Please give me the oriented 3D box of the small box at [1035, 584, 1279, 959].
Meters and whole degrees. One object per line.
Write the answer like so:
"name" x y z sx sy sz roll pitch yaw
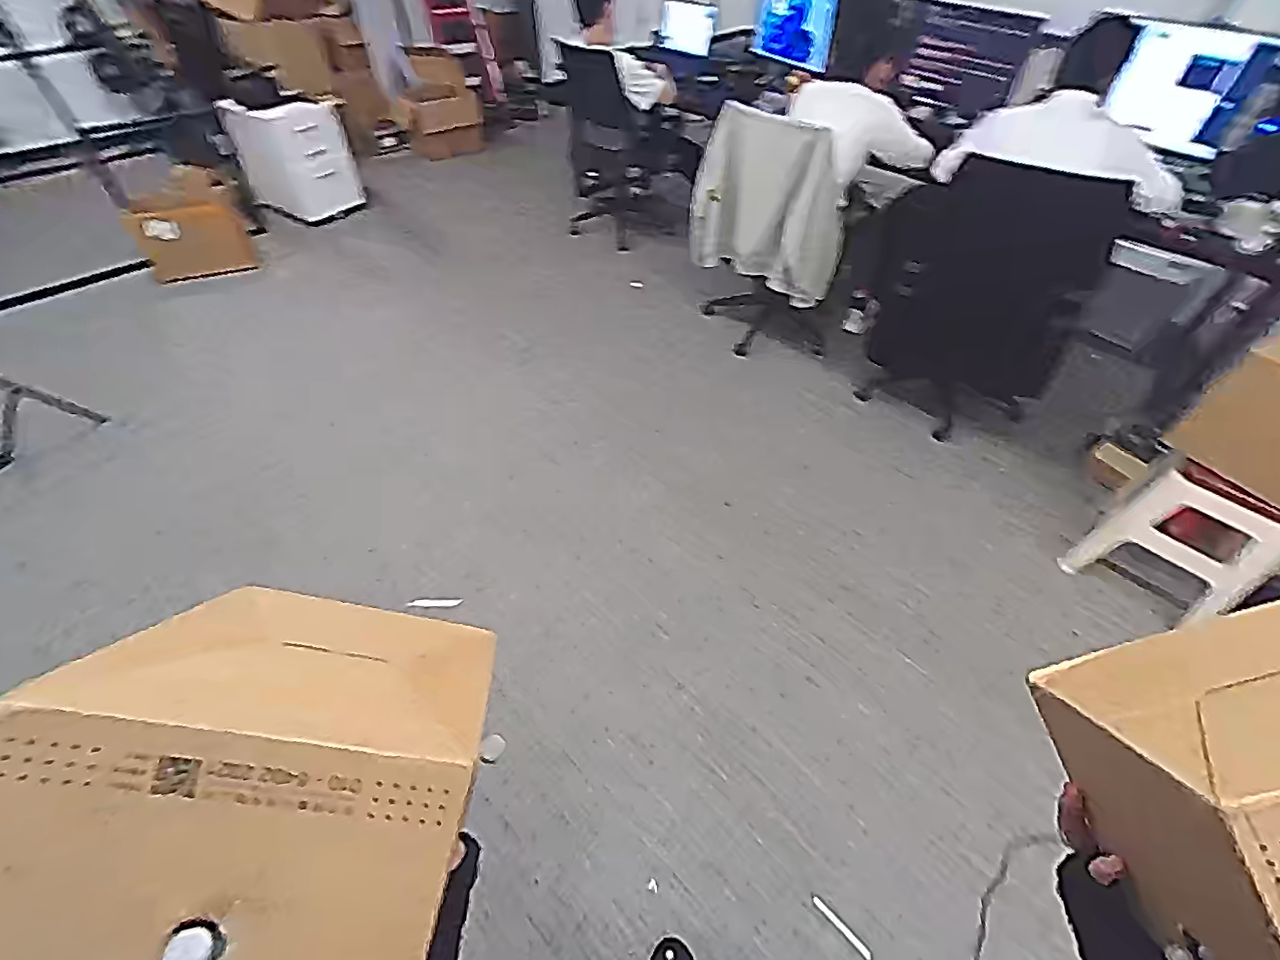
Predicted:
"small box" 0.343 0.164 0.266 0.168 0.179 0.176 -21 83 12

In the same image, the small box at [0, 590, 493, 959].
"small box" -0.179 0.163 0.275 0.168 0.179 0.176 15 88 -11
